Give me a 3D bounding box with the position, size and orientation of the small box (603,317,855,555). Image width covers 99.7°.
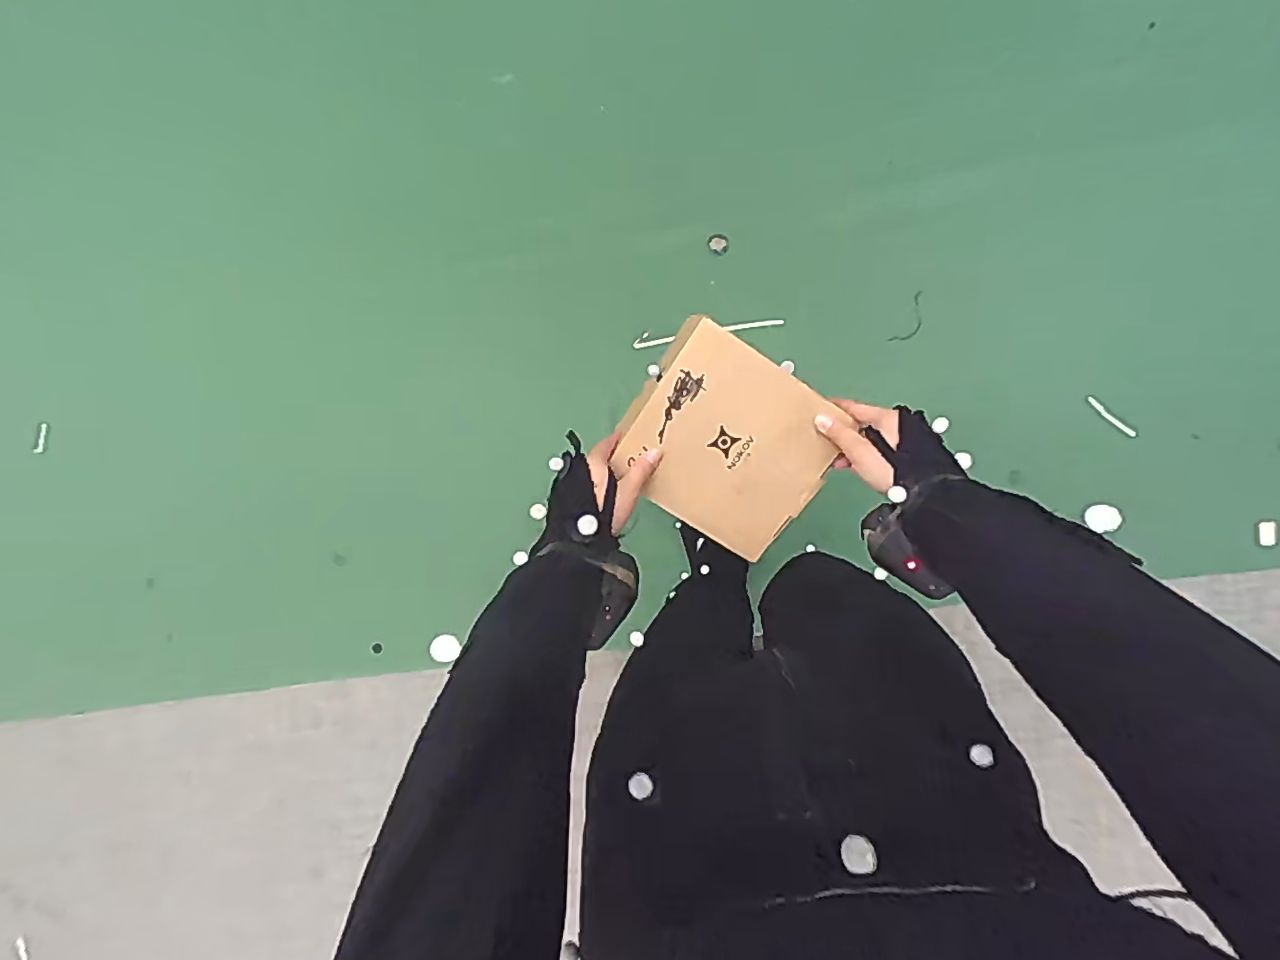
[{"bbox_3d":[0.082,-0.058,0.571,0.179,0.176,0.168,33,105,-9],"label":"small box"}]
